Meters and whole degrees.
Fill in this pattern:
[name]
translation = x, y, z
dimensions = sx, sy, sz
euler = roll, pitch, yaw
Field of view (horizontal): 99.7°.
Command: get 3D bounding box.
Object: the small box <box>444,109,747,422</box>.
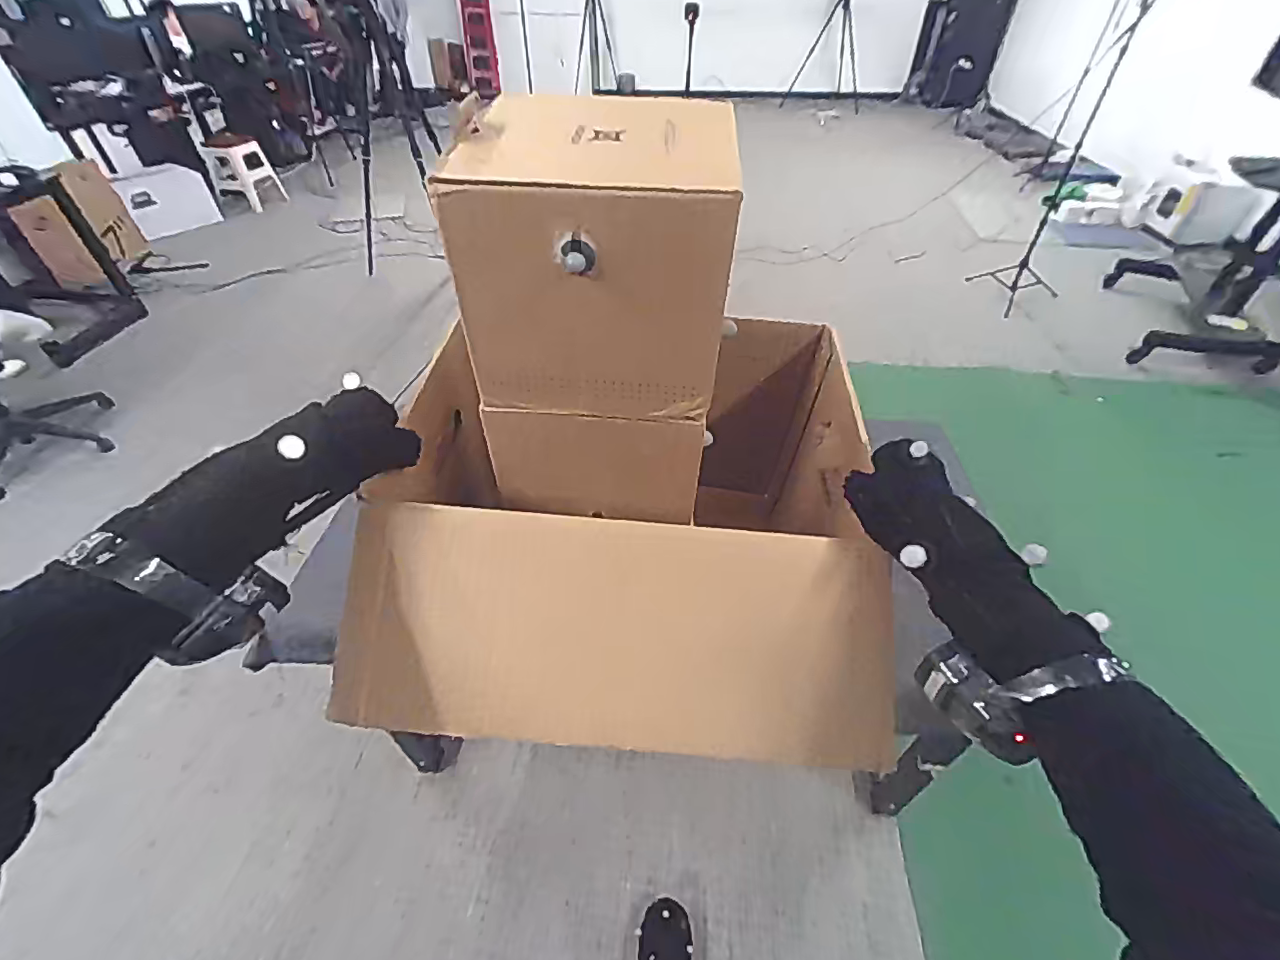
[small box]
translation = -0.023, -0.160, 0.414
dimensions = 0.179, 0.176, 0.168
euler = 4, 49, 1
